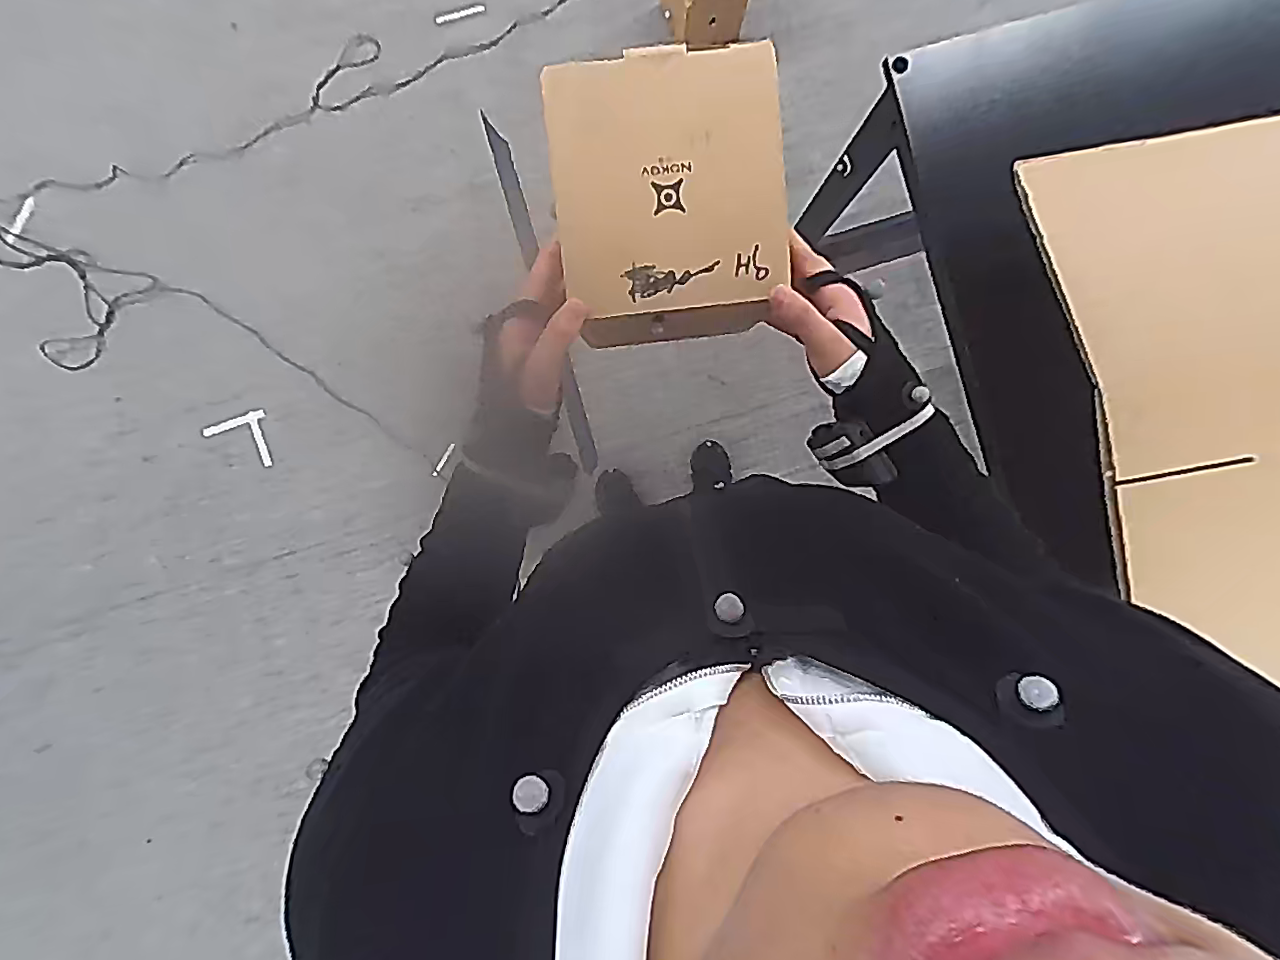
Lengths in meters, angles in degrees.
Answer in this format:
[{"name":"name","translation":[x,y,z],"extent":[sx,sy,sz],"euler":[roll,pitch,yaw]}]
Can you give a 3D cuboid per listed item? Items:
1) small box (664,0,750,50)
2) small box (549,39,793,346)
[{"name":"small box","translation":[0.170,-1.257,1.409],"extent":[0.179,0.176,0.168],"euler":[-20,91,0]},{"name":"small box","translation":[0.023,-0.223,0.466],"extent":[0.168,0.176,0.179],"euler":[-6,96,1]}]
